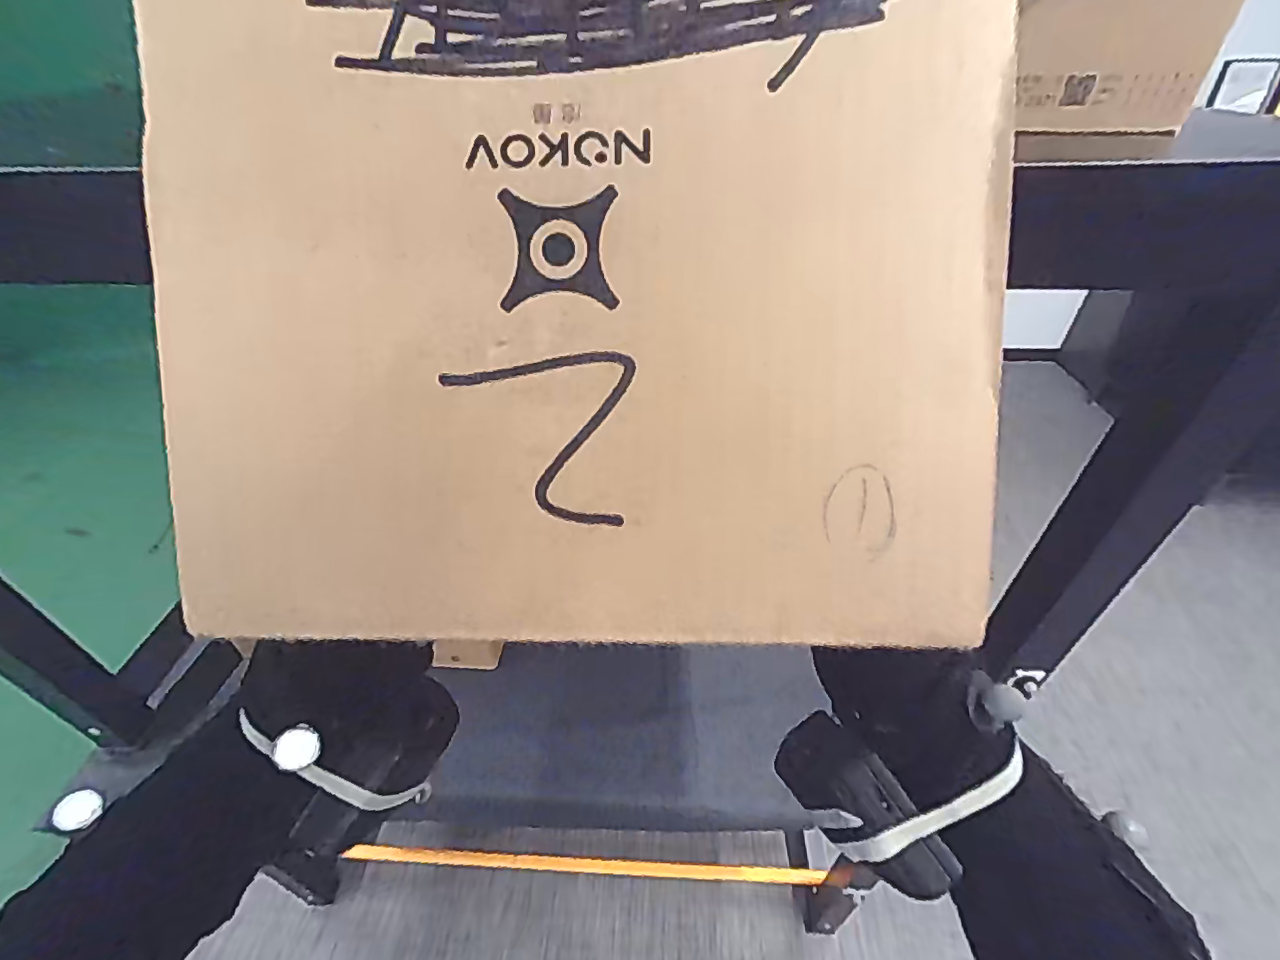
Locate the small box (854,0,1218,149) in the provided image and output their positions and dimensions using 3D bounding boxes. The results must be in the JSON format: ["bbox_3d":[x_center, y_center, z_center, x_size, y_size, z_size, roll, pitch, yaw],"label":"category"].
[{"bbox_3d":[0.243,-0.319,0.343,0.168,0.176,0.179,8,40,11],"label":"small box"}]
